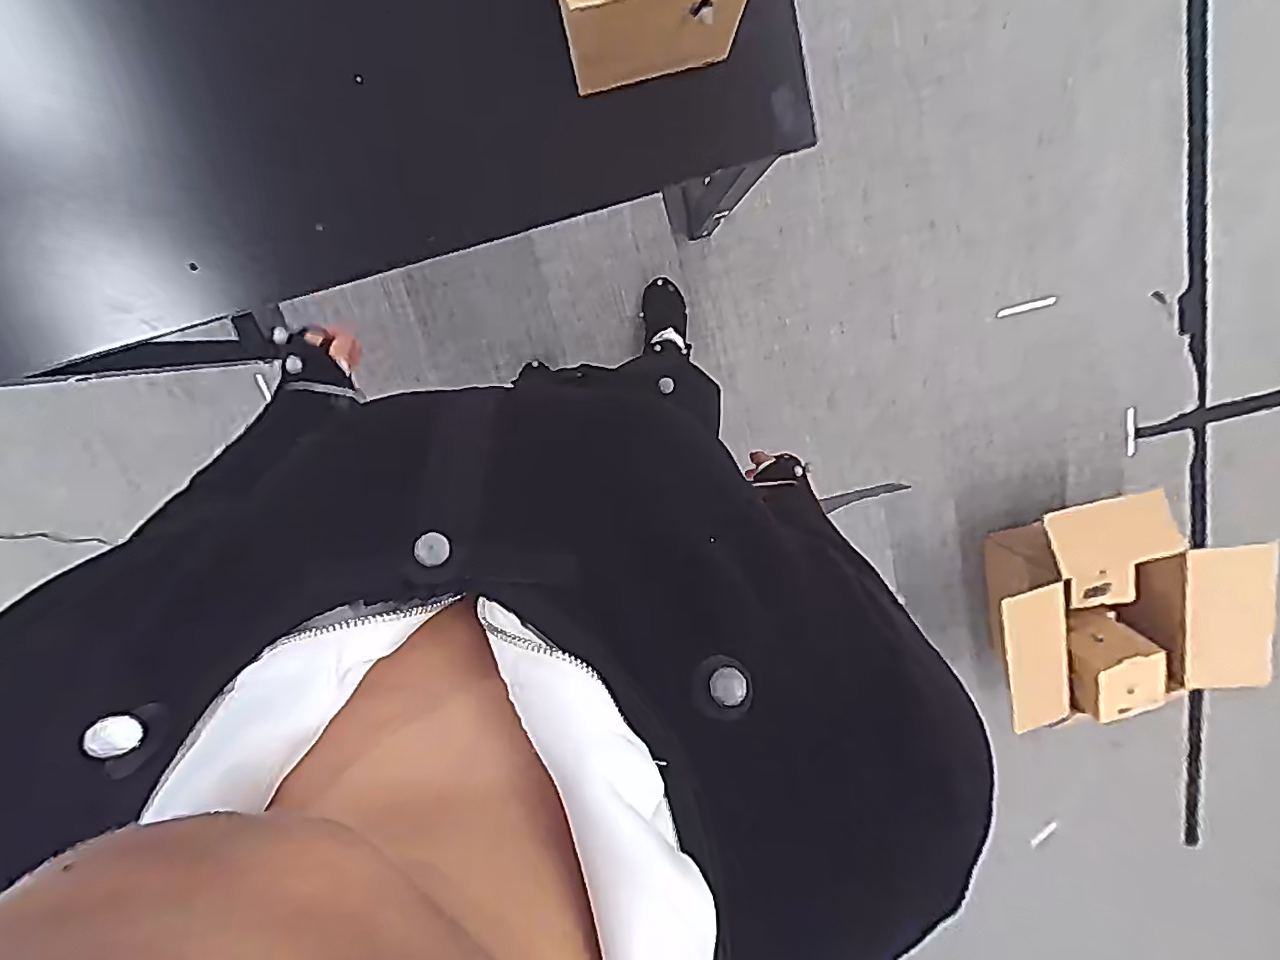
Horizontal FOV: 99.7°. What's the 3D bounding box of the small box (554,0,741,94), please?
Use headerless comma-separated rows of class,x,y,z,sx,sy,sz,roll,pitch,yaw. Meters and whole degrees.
small box,-0.004,-0.519,0.529,0.179,0.176,0.168,-13,104,2

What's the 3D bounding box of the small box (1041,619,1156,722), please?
small box,1.192,0.487,1.416,0.168,0.176,0.179,-17,109,1
